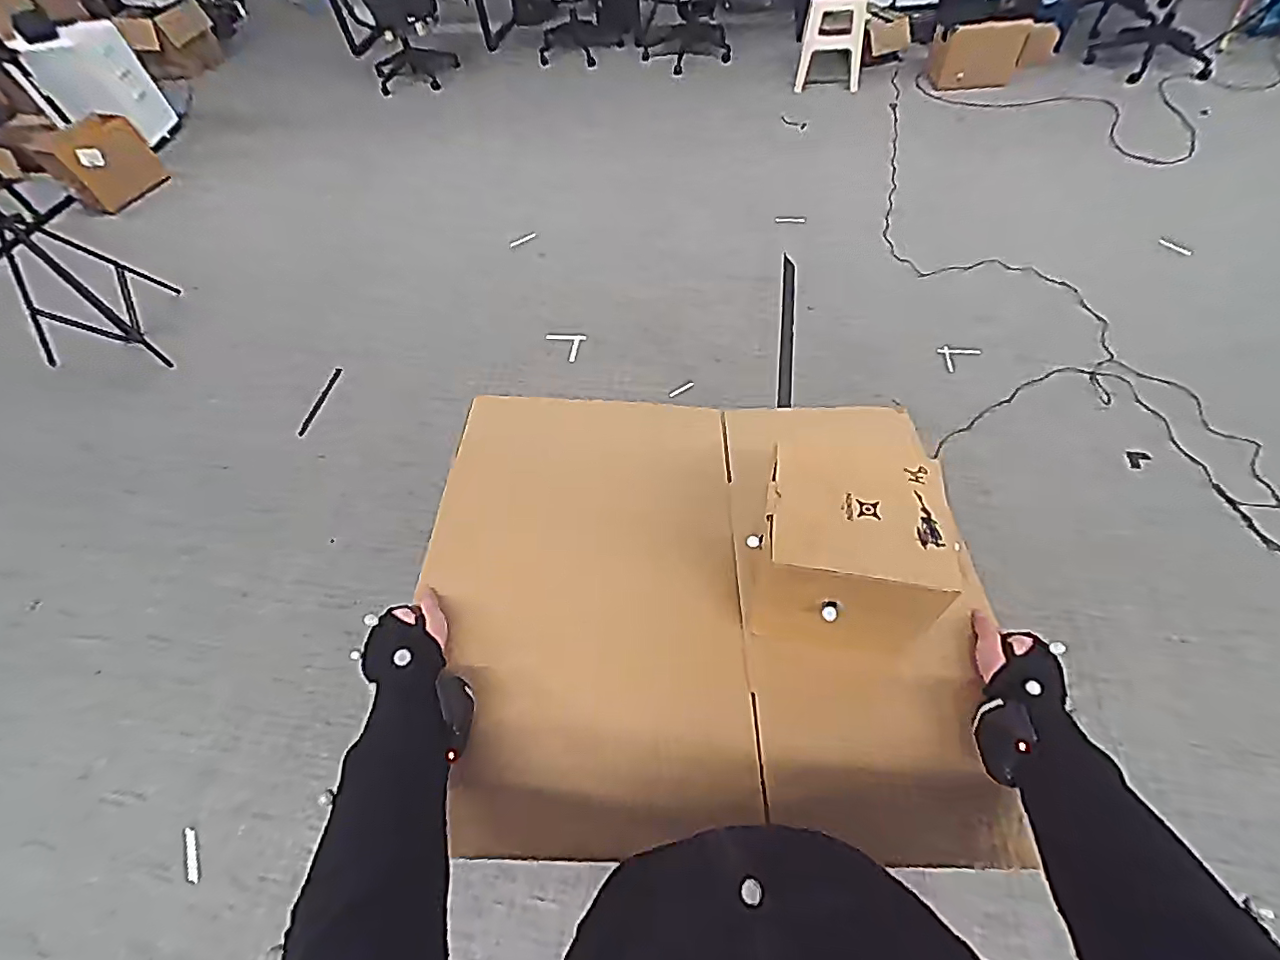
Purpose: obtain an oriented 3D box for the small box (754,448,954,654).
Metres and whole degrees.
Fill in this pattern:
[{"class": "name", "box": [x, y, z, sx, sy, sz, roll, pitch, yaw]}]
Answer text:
[{"class": "small box", "box": [0.229, 0.085, 0.625, 0.179, 0.176, 0.168, 6, 52, 10]}]
